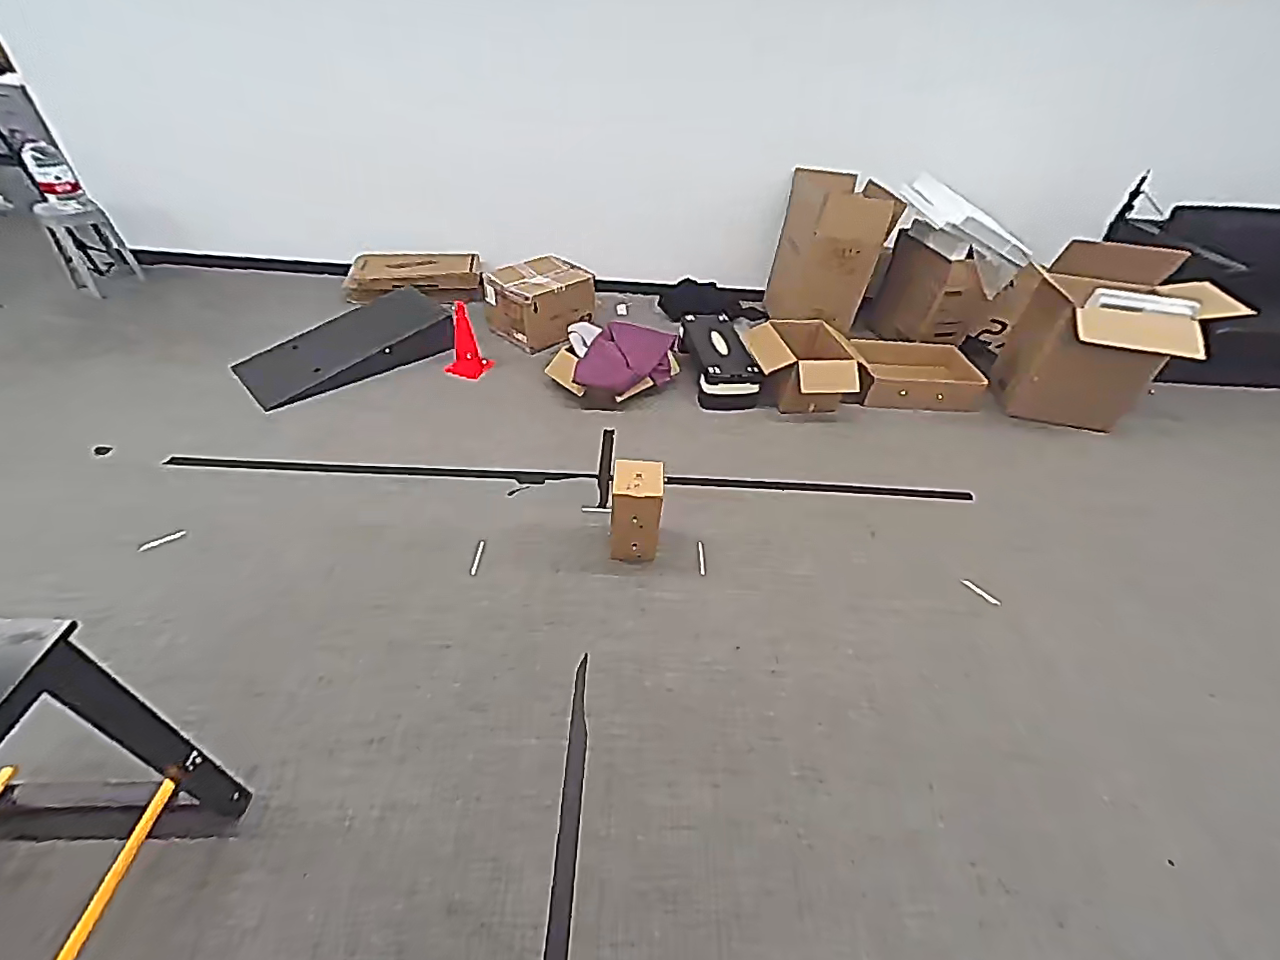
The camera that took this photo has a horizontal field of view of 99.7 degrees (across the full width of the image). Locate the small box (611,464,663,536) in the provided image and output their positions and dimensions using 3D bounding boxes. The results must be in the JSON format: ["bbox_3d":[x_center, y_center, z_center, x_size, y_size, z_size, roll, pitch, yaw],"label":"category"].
[{"bbox_3d":[-0.011,0.068,1.850,0.168,0.176,0.179,3,42,-1],"label":"small box"}]

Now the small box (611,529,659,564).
[{"bbox_3d":[-0.019,0.187,1.965,0.168,0.176,0.179,3,42,-3],"label":"small box"}]
